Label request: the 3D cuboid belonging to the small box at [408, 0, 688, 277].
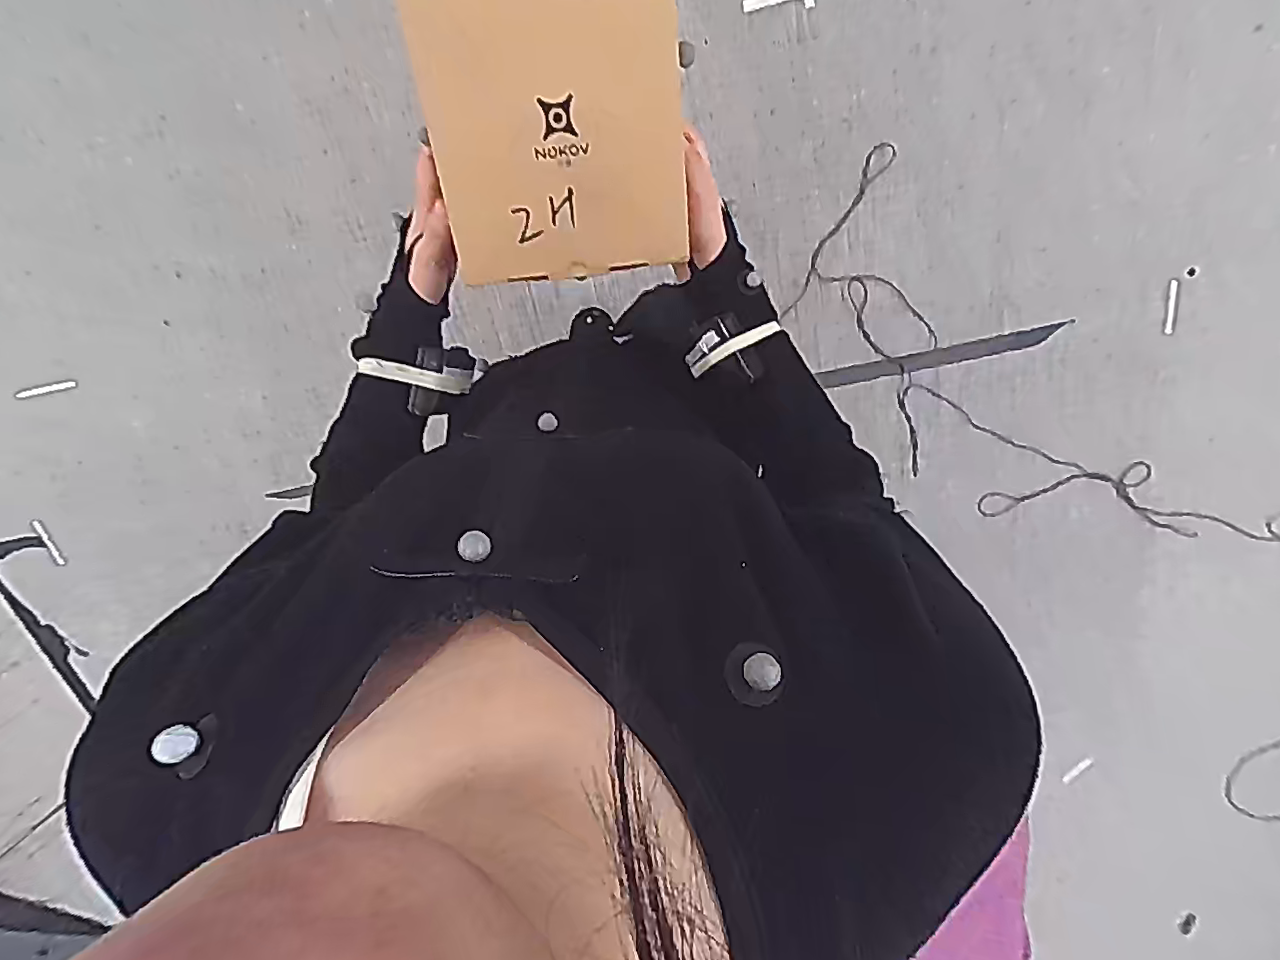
[{"bbox_3d":[-0.060,-0.264,0.423,0.168,0.176,0.179,-7,117,-3],"label":"small box"}]
